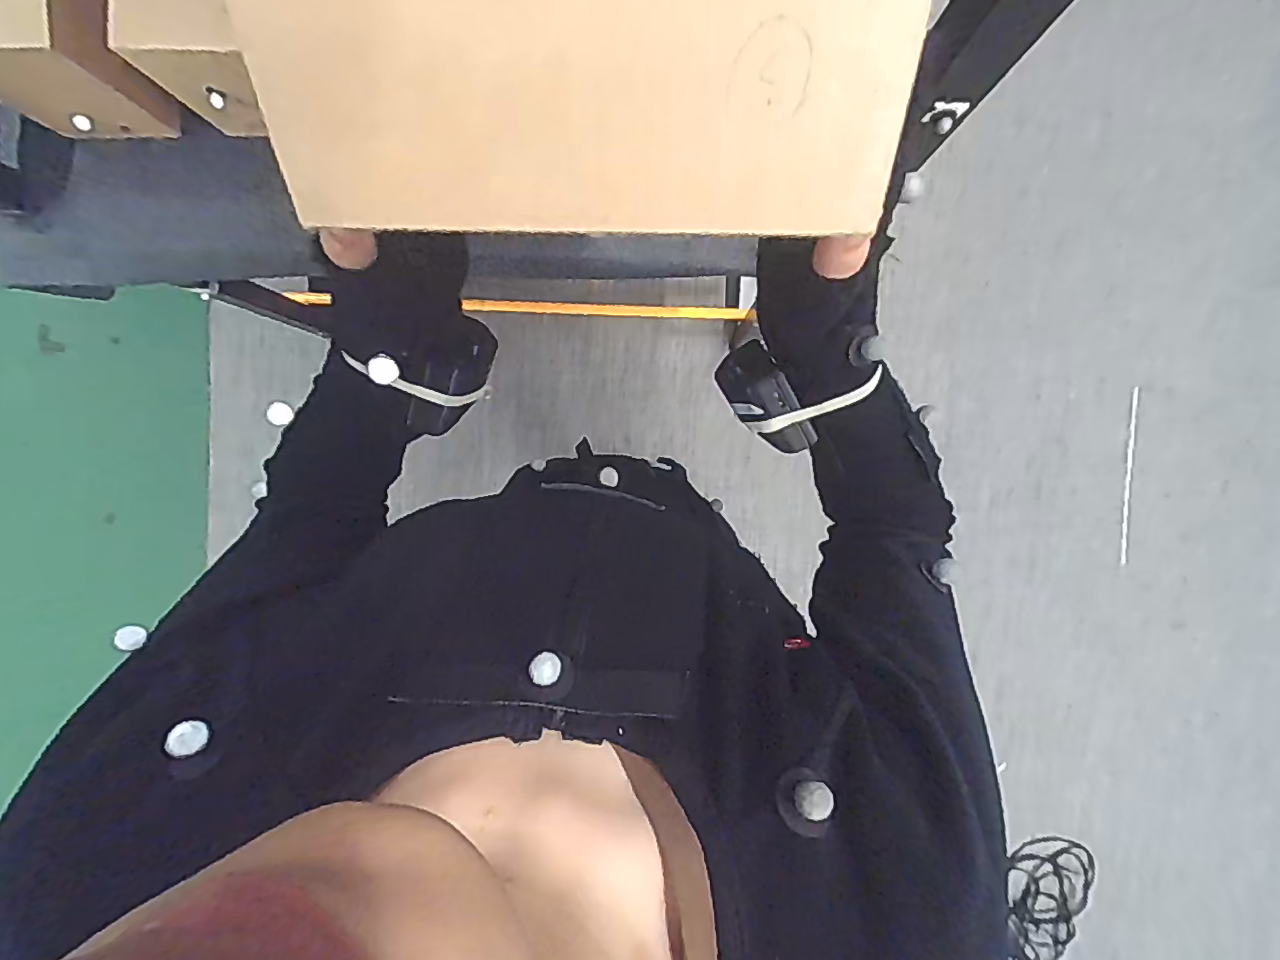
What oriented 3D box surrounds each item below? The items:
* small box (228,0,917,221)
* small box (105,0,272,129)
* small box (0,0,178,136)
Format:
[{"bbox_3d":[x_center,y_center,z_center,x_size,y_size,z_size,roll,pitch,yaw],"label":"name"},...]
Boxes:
[{"bbox_3d":[-0.013,-0.193,0.171,0.168,0.176,0.179,1,124,0],"label":"small box"},{"bbox_3d":[-0.487,-0.554,0.657,0.168,0.176,0.179,3,92,1],"label":"small box"},{"bbox_3d":[-0.713,-0.558,0.660,0.168,0.176,0.179,0,93,1],"label":"small box"}]
